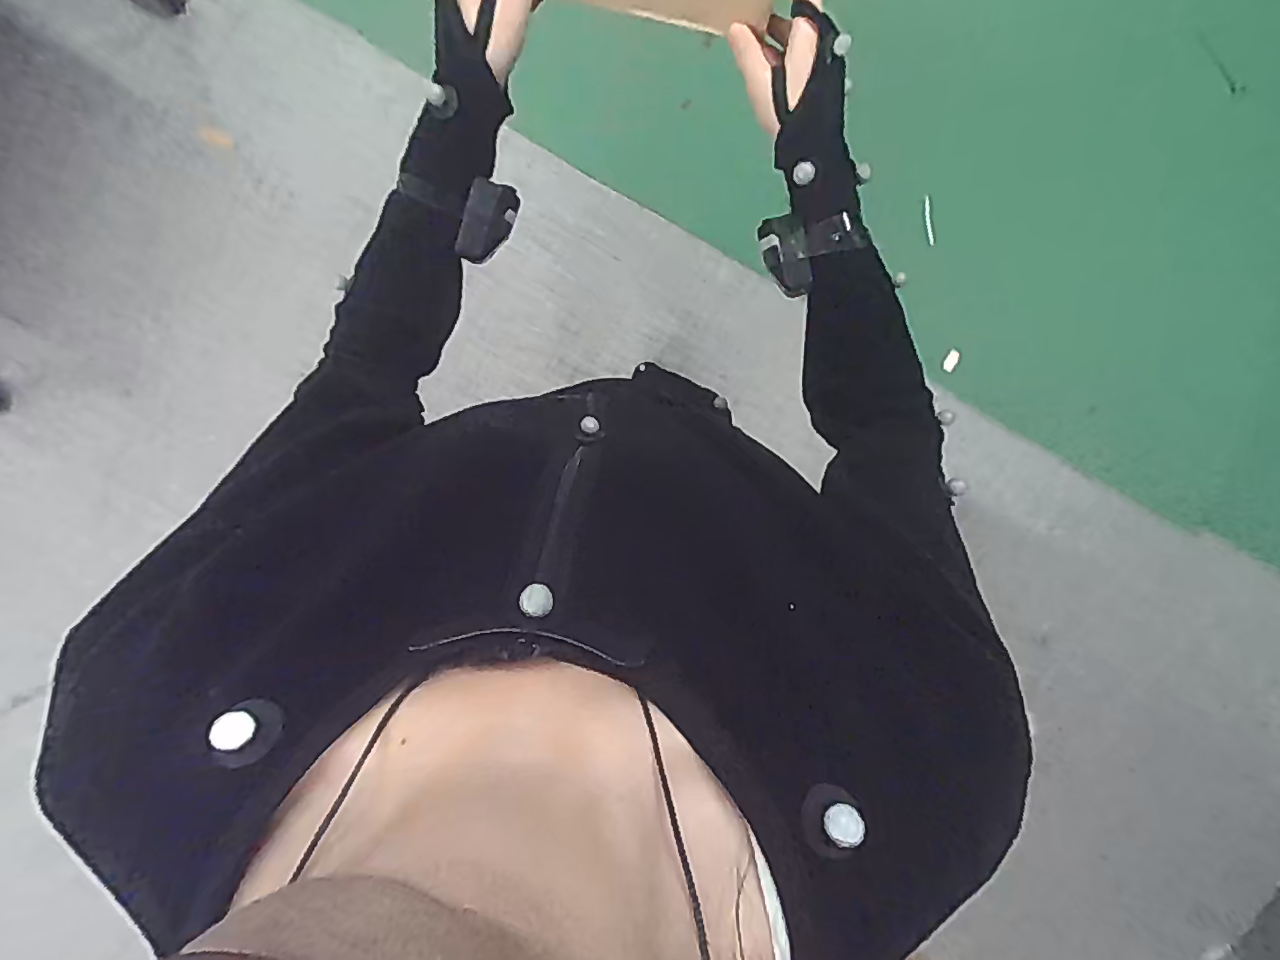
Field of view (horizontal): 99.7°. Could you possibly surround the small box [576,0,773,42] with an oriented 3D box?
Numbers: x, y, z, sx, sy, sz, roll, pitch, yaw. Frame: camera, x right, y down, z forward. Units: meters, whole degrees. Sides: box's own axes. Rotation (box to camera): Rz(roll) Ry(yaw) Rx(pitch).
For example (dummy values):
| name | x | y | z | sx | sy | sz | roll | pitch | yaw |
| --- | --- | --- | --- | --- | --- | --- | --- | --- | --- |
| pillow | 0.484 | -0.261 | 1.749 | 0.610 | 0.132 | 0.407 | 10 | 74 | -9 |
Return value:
| name | x | y | z | sx | sy | sz | roll | pitch | yaw |
| --- | --- | --- | --- | --- | --- | --- | --- | --- | --- |
| small box | 0.013 | -0.451 | 0.388 | 0.179 | 0.176 | 0.168 | 1 | 138 | -14 |
